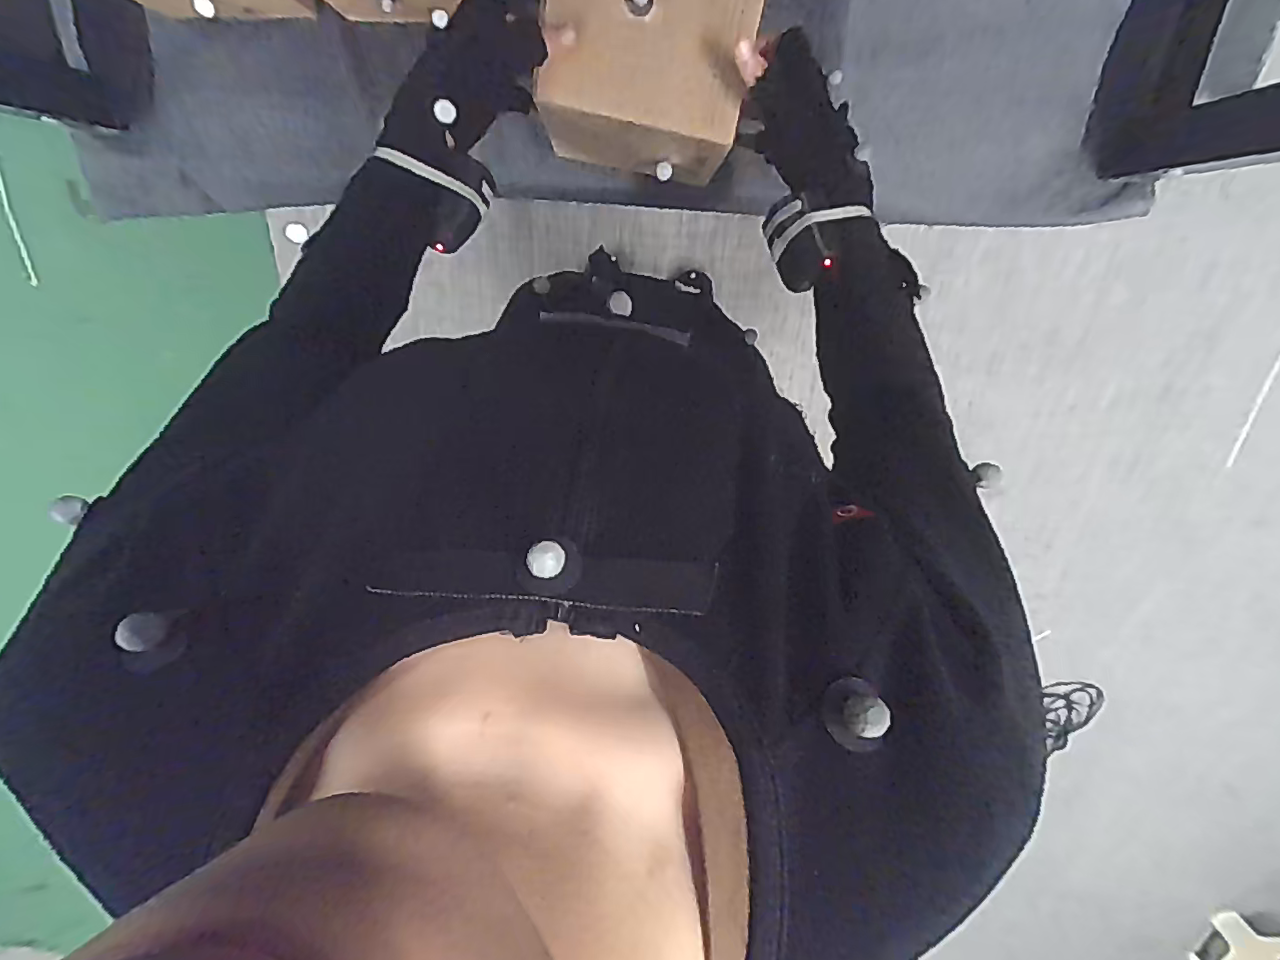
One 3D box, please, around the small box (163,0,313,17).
[{"bbox_3d":[-0.417,-0.537,0.457,0.168,0.176,0.179,2,112,3],"label":"small box"}]
